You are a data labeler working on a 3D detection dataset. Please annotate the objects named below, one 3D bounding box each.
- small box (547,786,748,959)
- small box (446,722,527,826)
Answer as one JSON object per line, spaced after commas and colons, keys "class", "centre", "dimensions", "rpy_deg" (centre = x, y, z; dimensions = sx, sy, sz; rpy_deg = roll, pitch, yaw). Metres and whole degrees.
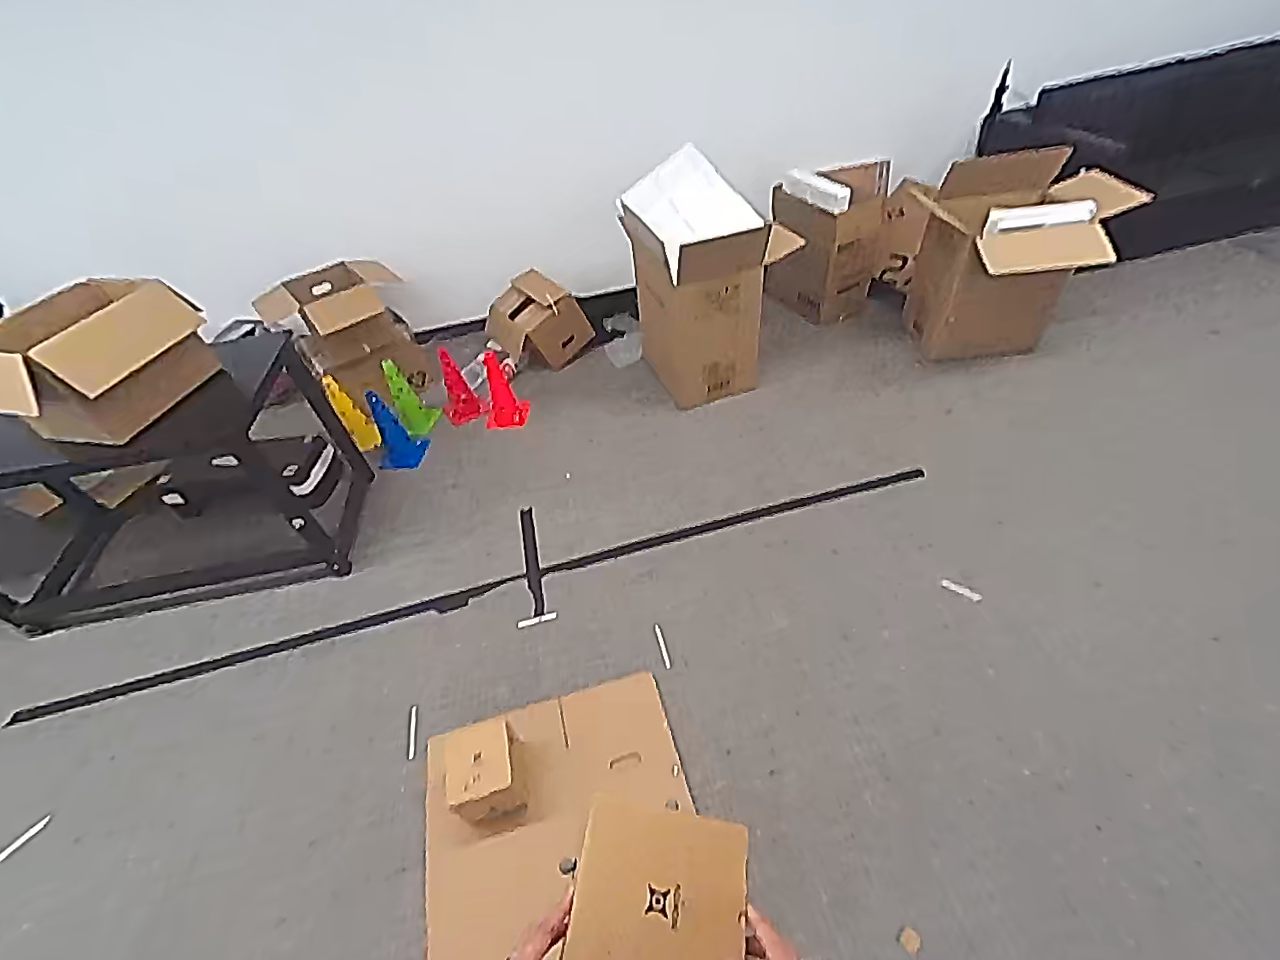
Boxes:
{"class": "small box", "centre": [0.004, 0.460, 0.584], "dimensions": [0.179, 0.176, 0.168], "rpy_deg": [15, 46, -2]}
{"class": "small box", "centre": [-0.407, 0.784, 1.441], "dimensions": [0.168, 0.176, 0.179], "rpy_deg": [-16, 45, -7]}
